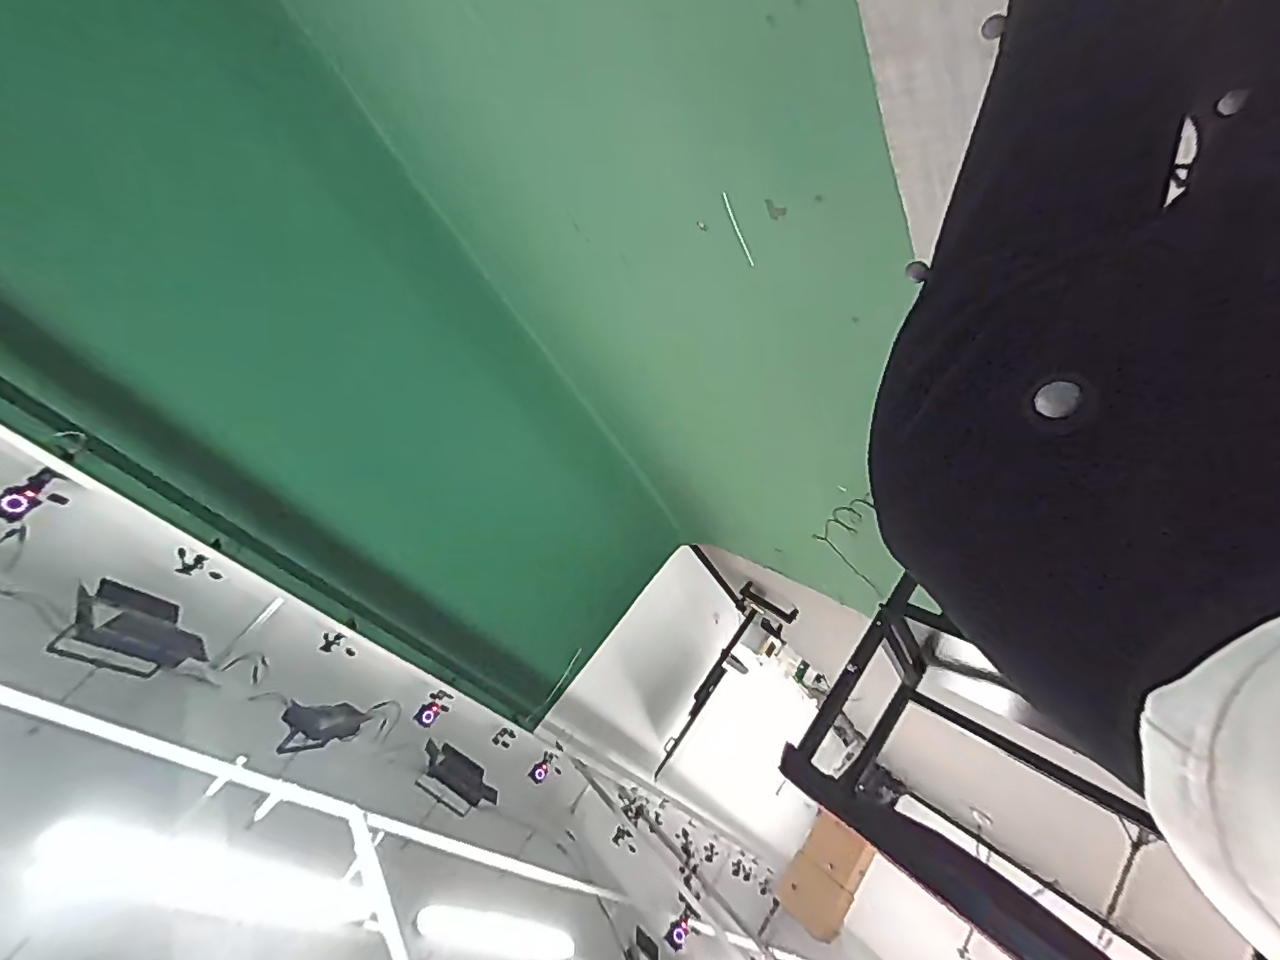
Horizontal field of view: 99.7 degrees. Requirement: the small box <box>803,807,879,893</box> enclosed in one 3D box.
[{"bbox_3d":[0.688,1.253,1.836,0.168,0.176,0.179,21,156,46],"label":"small box"}]
